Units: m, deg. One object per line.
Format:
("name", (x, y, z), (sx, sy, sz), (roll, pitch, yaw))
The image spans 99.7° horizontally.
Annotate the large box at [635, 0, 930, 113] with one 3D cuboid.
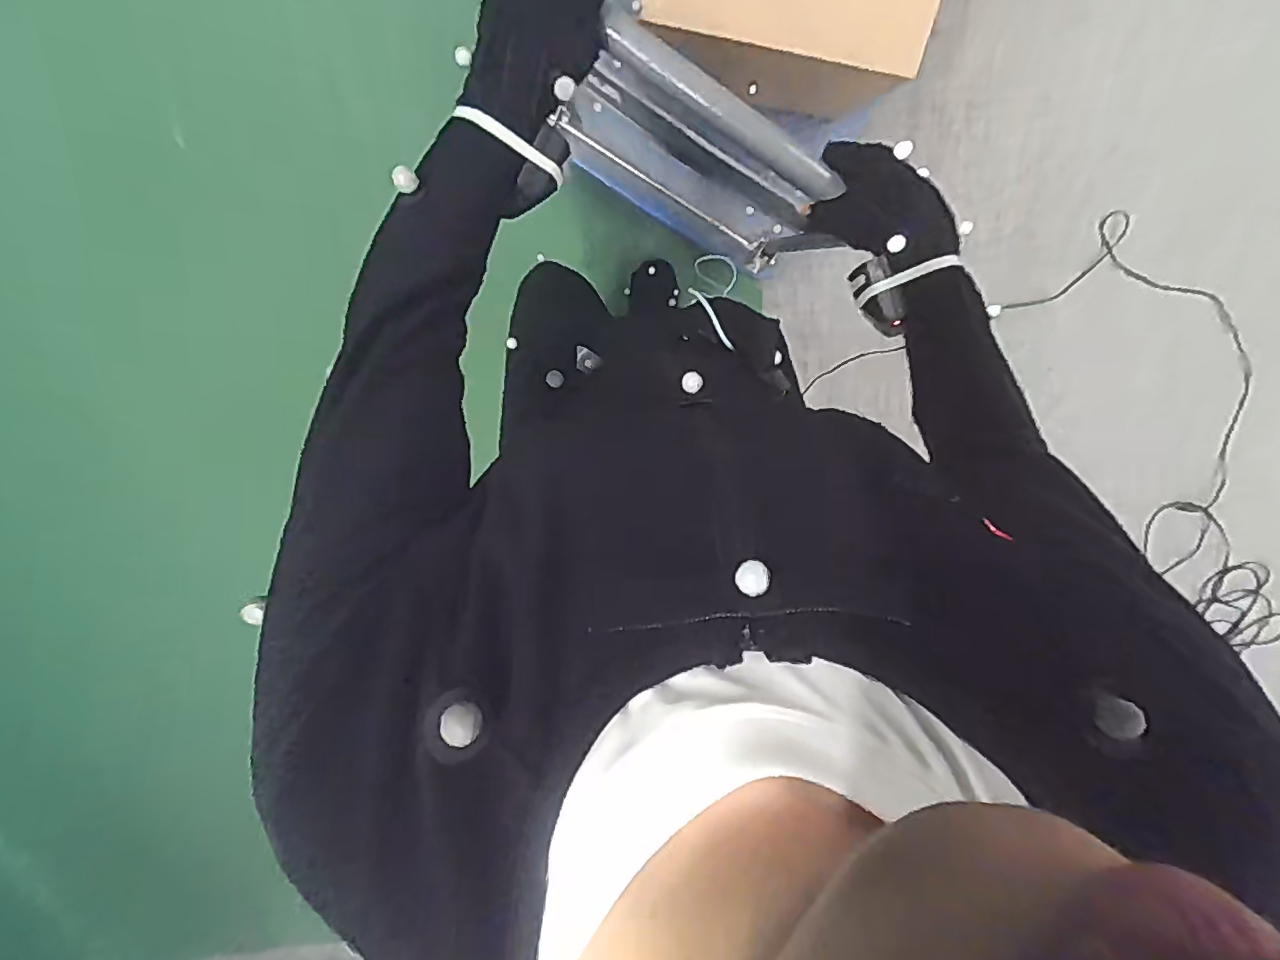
("large box", (0.214, -0.807, 0.838), (0.408, 0.320, 0.320), (9, 113, -4))
